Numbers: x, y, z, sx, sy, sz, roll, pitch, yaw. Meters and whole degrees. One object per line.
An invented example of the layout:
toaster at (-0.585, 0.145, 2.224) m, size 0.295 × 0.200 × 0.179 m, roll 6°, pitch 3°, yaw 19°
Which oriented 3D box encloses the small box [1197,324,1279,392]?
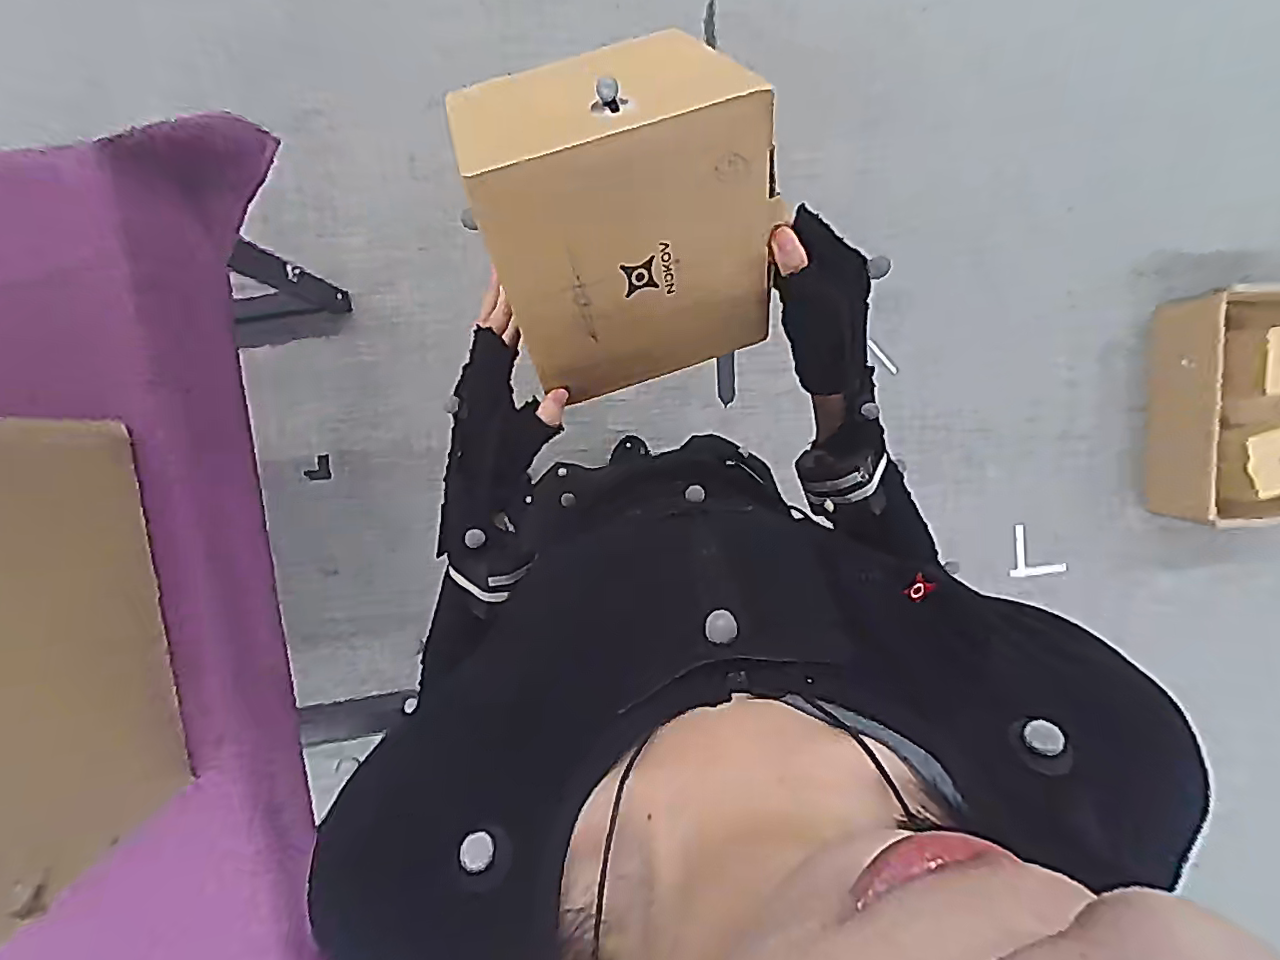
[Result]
small box at (1.659, -0.325, 1.442) m, size 0.179 × 0.176 × 0.168 m, roll -5°, pitch 96°, yaw -3°
